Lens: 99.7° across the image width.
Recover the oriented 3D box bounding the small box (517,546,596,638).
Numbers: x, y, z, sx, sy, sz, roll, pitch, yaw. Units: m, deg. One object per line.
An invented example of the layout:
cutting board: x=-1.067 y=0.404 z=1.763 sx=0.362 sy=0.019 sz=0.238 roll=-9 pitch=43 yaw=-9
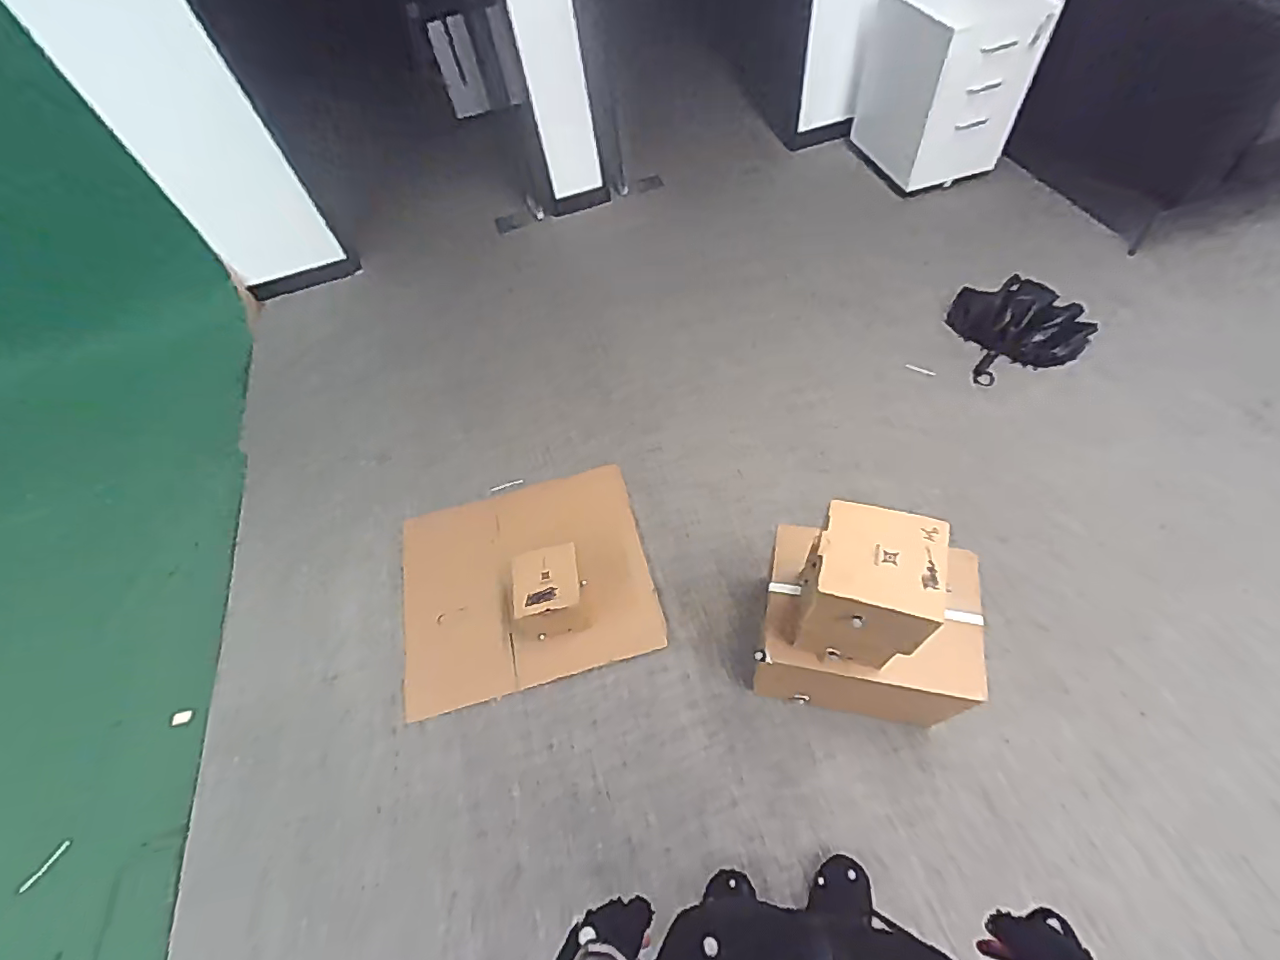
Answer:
small box: x=-0.216 y=0.300 z=1.412 sx=0.168 sy=0.176 sz=0.179 roll=-12 pitch=54 yaw=1

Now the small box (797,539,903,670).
small box: x=0.395 y=0.236 z=1.017 sx=0.168 sy=0.176 sz=0.179 roll=9 pitch=60 yaw=15

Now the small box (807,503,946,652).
small box: x=0.374 y=0.161 z=0.875 sx=0.179 sy=0.176 sz=0.168 roll=10 pitch=57 yaw=14
